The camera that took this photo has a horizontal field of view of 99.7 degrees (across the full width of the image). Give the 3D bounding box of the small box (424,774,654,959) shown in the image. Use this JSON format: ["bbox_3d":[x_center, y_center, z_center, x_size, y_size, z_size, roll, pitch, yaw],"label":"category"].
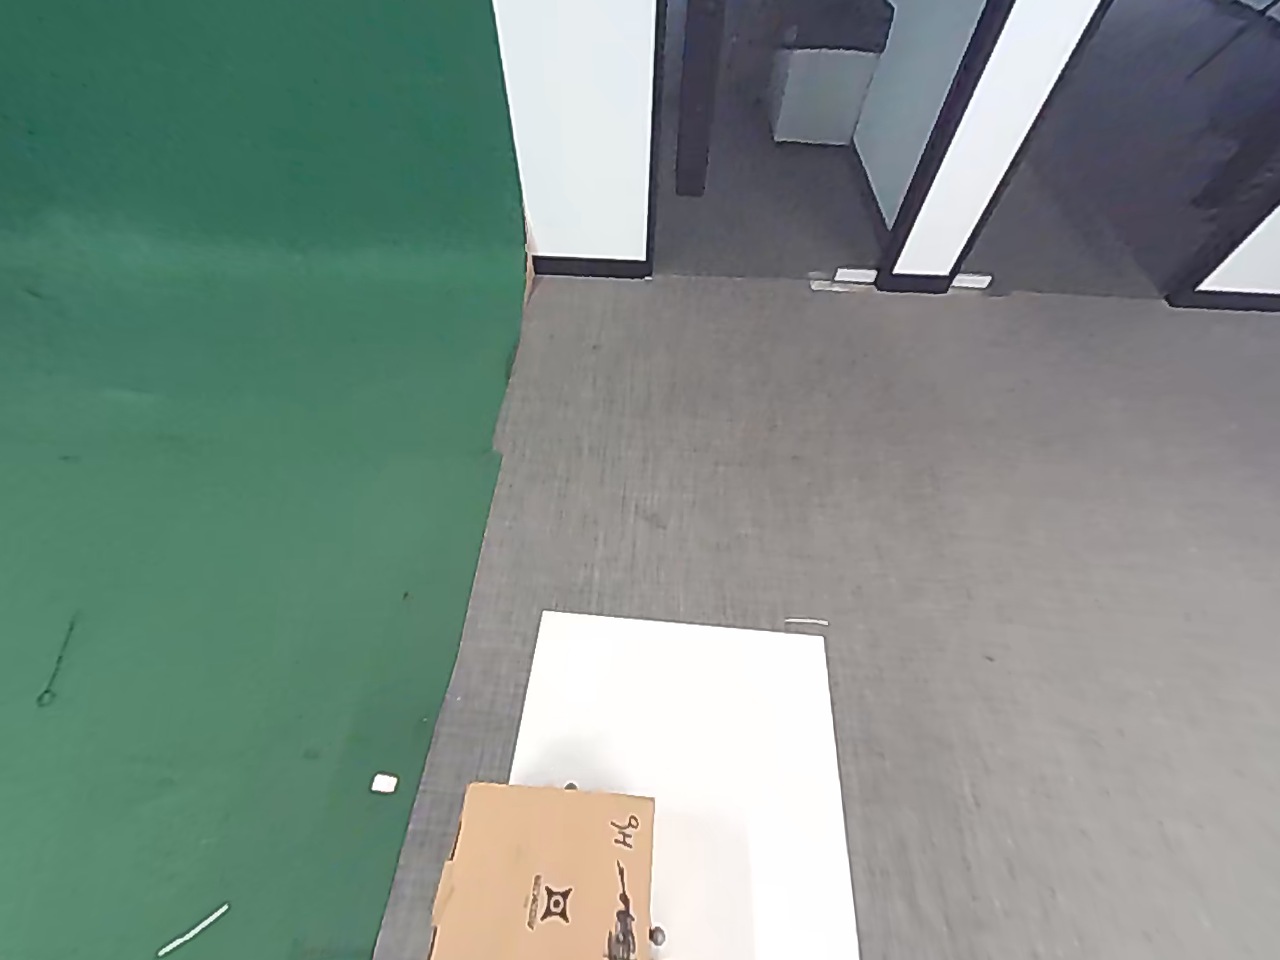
[{"bbox_3d":[-0.083,0.394,0.517,0.179,0.176,0.168,6,54,0],"label":"small box"}]
